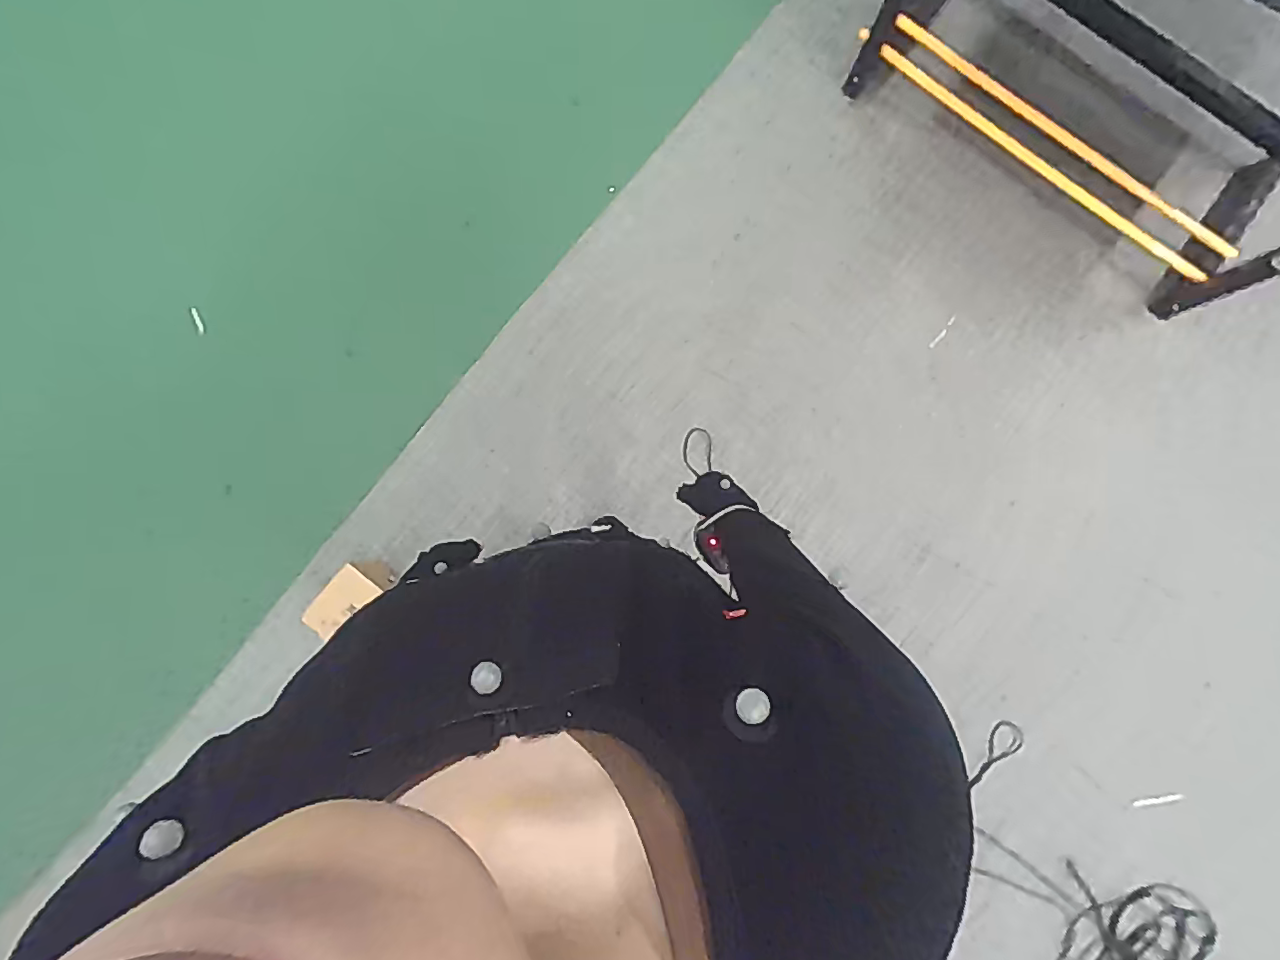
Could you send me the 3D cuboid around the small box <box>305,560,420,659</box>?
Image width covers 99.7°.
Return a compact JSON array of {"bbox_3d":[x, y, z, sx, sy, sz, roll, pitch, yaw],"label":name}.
[{"bbox_3d":[-0.693,0.319,1.383,0.168,0.176,0.179,38,85,3],"label":"small box"}]
